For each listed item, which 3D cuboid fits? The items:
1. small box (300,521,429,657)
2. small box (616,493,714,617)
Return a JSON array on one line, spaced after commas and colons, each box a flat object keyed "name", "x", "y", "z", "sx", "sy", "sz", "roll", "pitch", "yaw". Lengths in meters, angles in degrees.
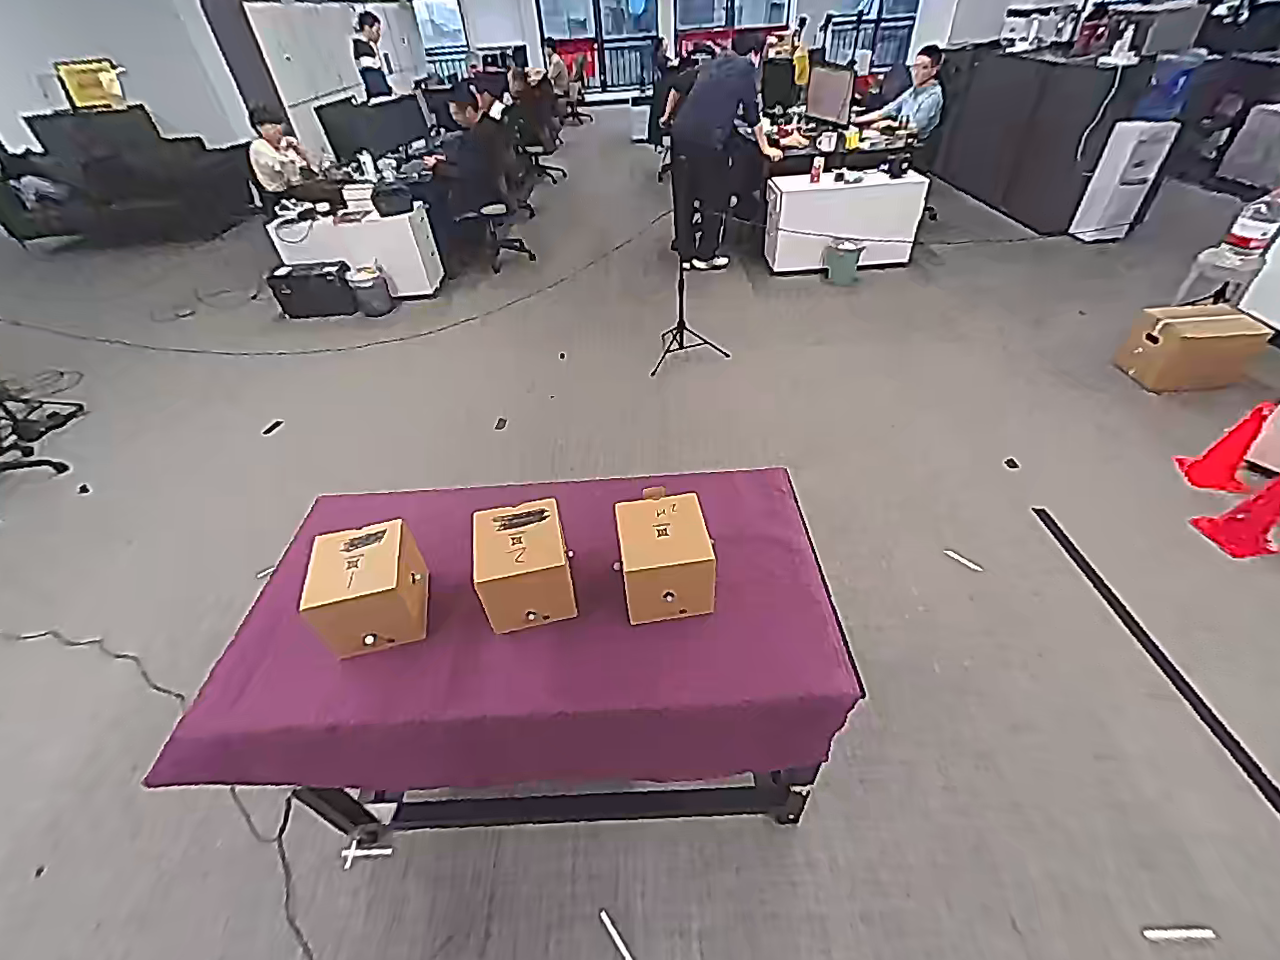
[{"name": "small box", "x": -0.522, "y": 0.211, "z": 1.053, "sx": 0.168, "sy": 0.176, "sz": 0.179, "roll": -12, "pitch": 43, "yaw": -8}, {"name": "small box", "x": 0.048, "y": 0.153, "z": 1.063, "sx": 0.168, "sy": 0.176, "sz": 0.179, "roll": -7, "pitch": 41, "yaw": -3}]
